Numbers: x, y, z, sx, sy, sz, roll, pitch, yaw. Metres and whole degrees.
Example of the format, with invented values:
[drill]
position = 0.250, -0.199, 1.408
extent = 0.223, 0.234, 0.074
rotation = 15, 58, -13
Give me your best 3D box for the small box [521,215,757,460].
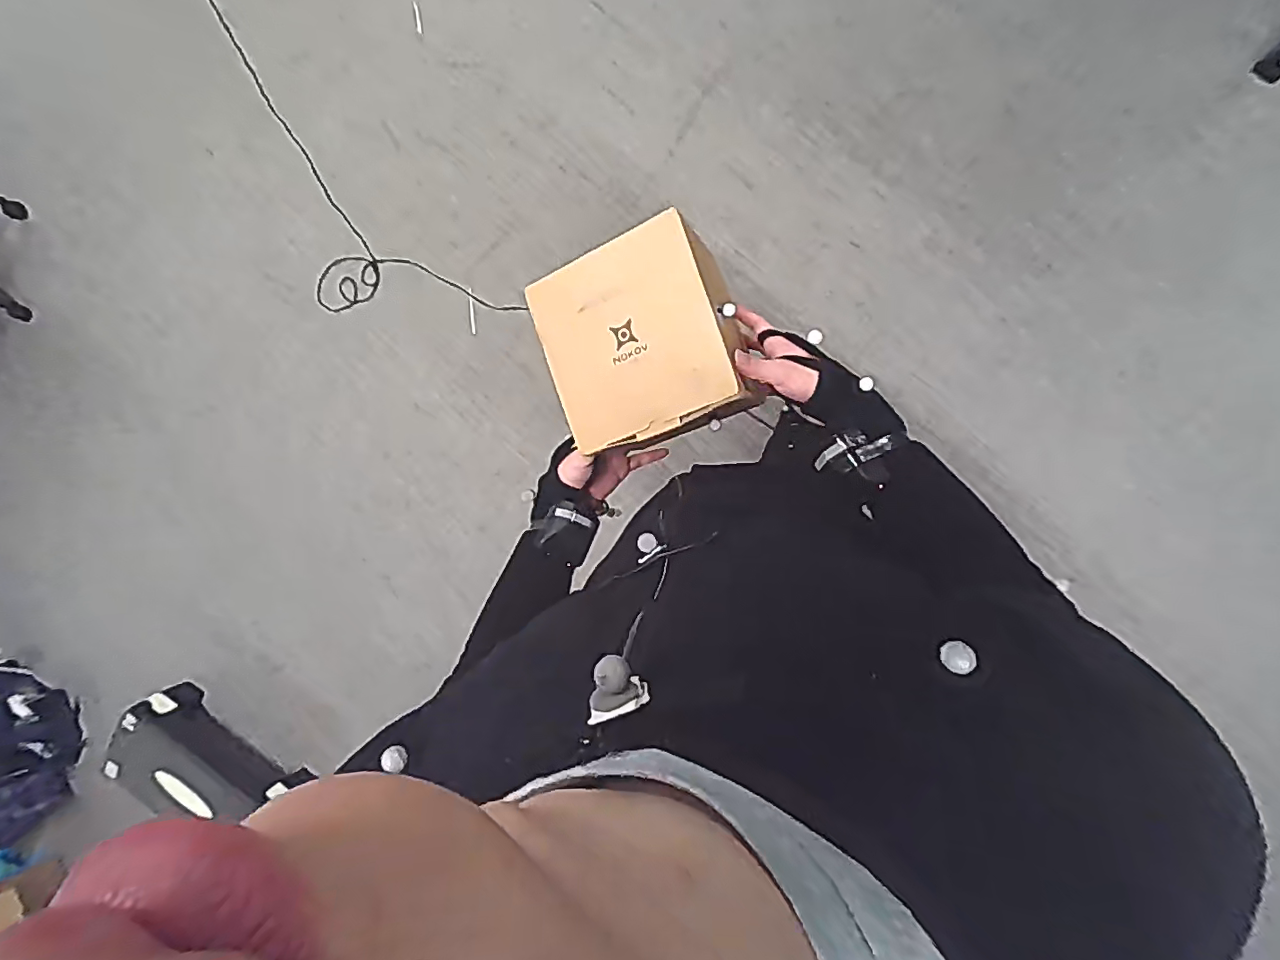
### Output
[small box]
position = 0.011, -0.133, 0.566
extent = 0.168, 0.176, 0.179
rotation = -20, 88, 21
